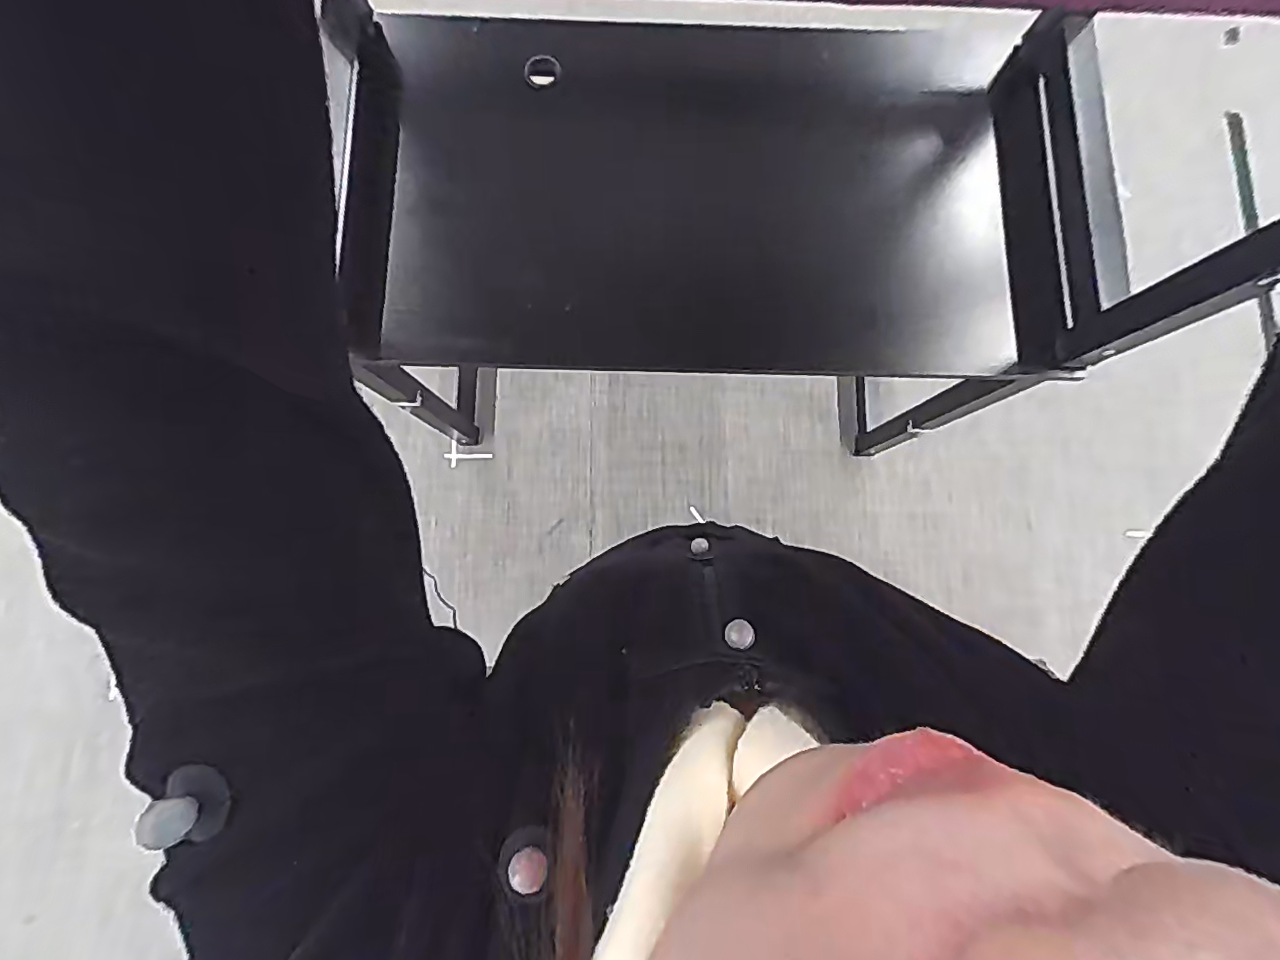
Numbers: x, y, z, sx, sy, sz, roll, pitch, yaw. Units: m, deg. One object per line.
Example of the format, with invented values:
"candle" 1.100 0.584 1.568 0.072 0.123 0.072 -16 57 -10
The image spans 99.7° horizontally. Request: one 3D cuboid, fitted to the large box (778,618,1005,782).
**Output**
"large box" 0.579 0.510 1.319 0.408 0.320 0.320 1 83 -2
